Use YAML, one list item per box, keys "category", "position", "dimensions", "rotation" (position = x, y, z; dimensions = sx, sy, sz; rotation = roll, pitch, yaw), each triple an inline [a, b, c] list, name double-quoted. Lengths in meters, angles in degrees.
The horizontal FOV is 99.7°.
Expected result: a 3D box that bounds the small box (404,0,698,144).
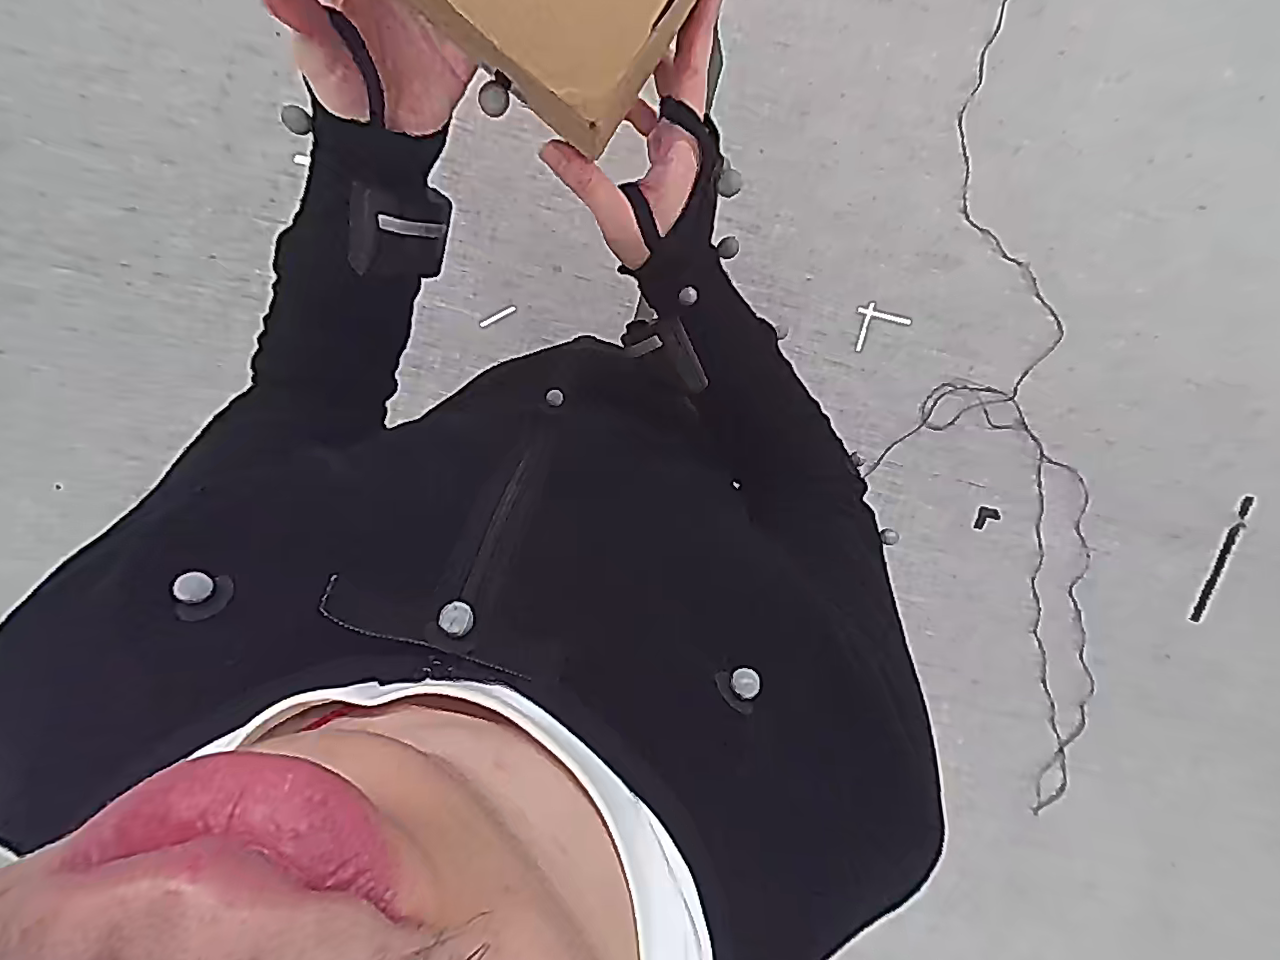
- category: "small box"
  position: [-0.038, -0.254, 0.196]
  dimensions: [0.179, 0.176, 0.168]
  rotation: [32, 109, -19]
